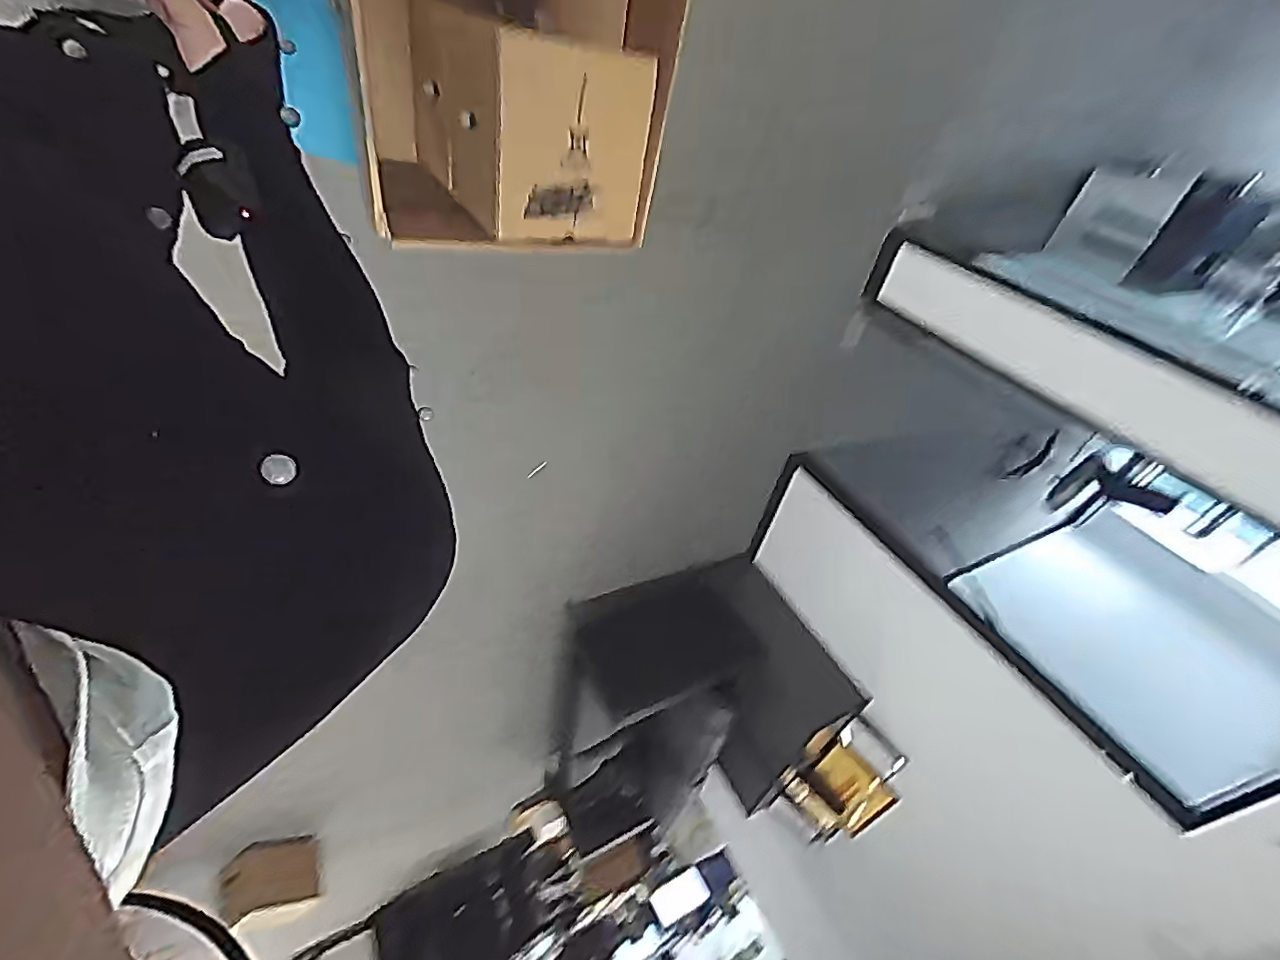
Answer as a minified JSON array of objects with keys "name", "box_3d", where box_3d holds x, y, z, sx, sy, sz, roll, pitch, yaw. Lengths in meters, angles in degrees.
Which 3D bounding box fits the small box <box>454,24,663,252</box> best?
[{"name":"small box","box_3d":[-0.100,-0.371,0.597,0.168,0.176,0.179,-13,134,-29]}]

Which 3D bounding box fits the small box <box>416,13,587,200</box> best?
[{"name":"small box","box_3d":[-0.182,-0.471,0.697,0.168,0.176,0.179,-12,134,-30]}]
